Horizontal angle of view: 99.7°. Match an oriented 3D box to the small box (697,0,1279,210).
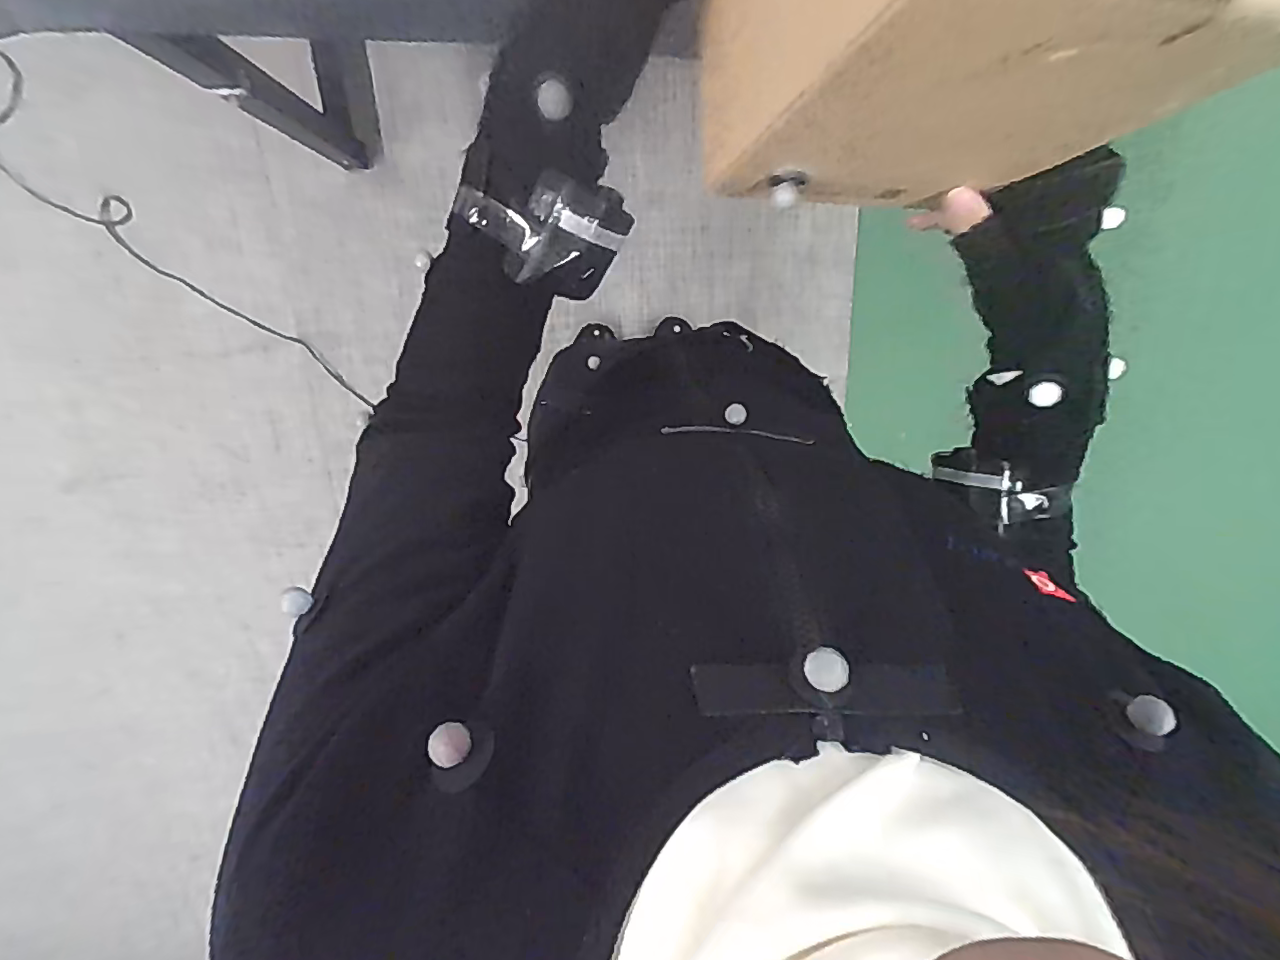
[{"bbox_3d":[0.130,-0.236,0.233,0.168,0.176,0.179,-4,98,-15],"label":"small box"}]
